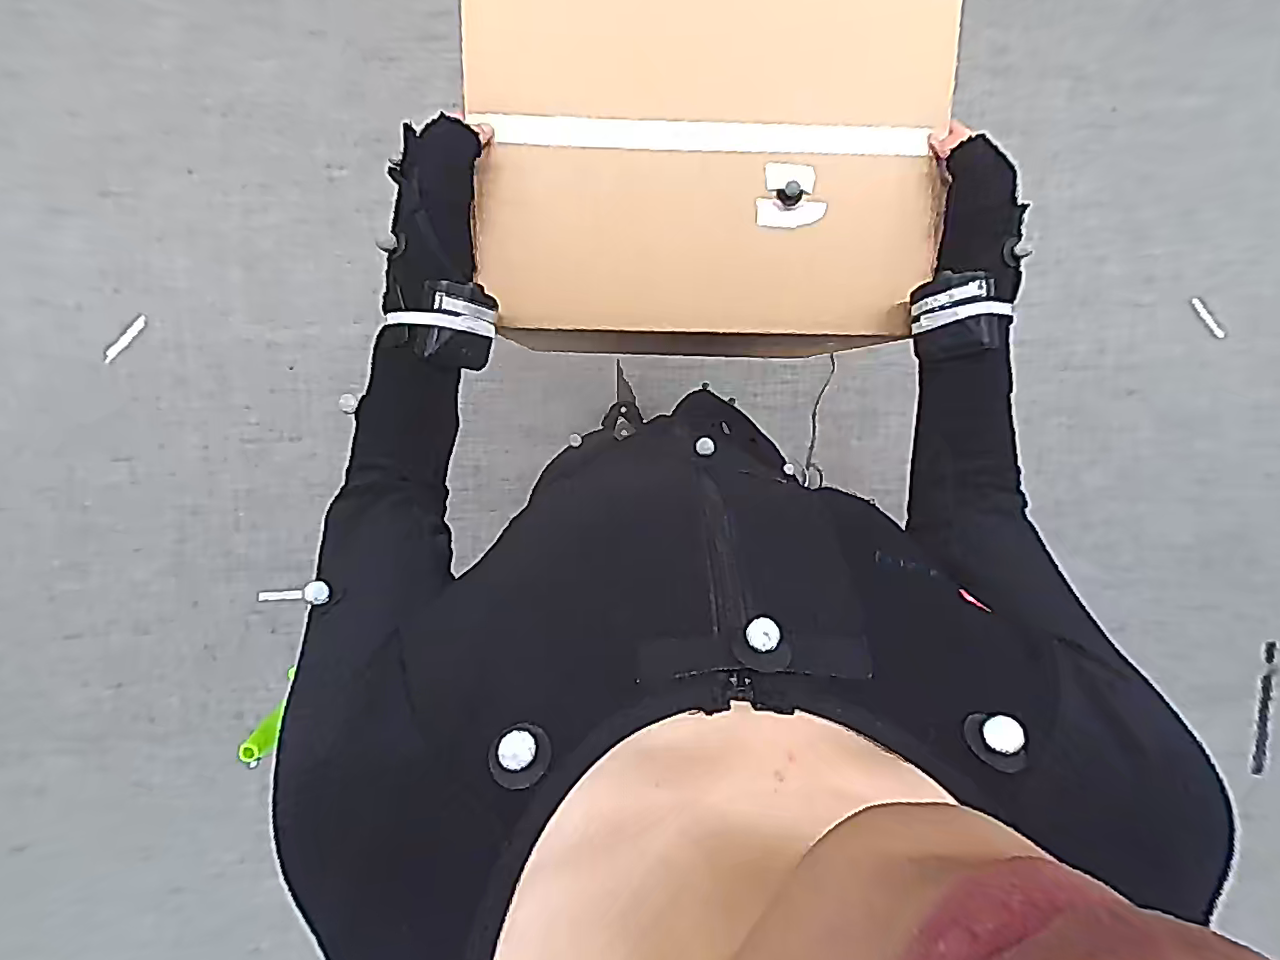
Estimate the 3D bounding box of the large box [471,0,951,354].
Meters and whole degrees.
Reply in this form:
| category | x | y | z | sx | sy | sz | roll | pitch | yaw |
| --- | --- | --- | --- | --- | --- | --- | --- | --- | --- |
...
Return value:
| category | x | y | z | sx | sy | sz | roll | pitch | yaw |
| --- | --- | --- | --- | --- | --- | --- | --- | --- | --- |
| large box | 0.053 | -0.312 | 0.605 | 0.408 | 0.320 | 0.320 | 0 | 99 | -3 |
